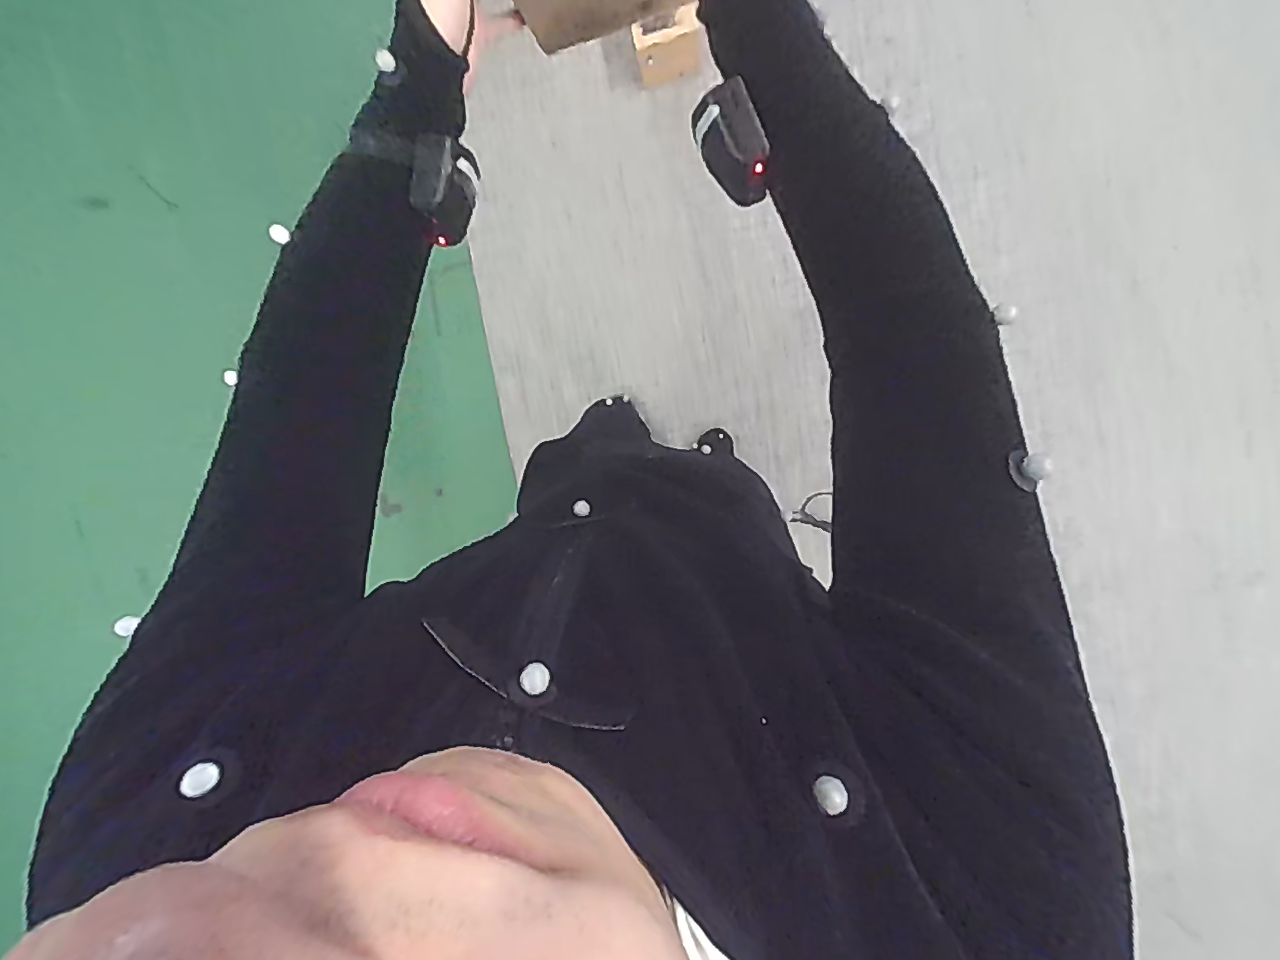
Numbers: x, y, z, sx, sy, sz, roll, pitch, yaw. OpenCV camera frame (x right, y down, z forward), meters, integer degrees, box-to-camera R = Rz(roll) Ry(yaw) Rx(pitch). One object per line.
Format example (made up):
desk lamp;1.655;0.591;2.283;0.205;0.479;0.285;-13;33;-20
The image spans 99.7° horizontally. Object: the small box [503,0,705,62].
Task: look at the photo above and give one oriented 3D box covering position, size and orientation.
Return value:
small box;-0.045;-0.485;0.436;0.168;0.176;0.179;-11;98;12
